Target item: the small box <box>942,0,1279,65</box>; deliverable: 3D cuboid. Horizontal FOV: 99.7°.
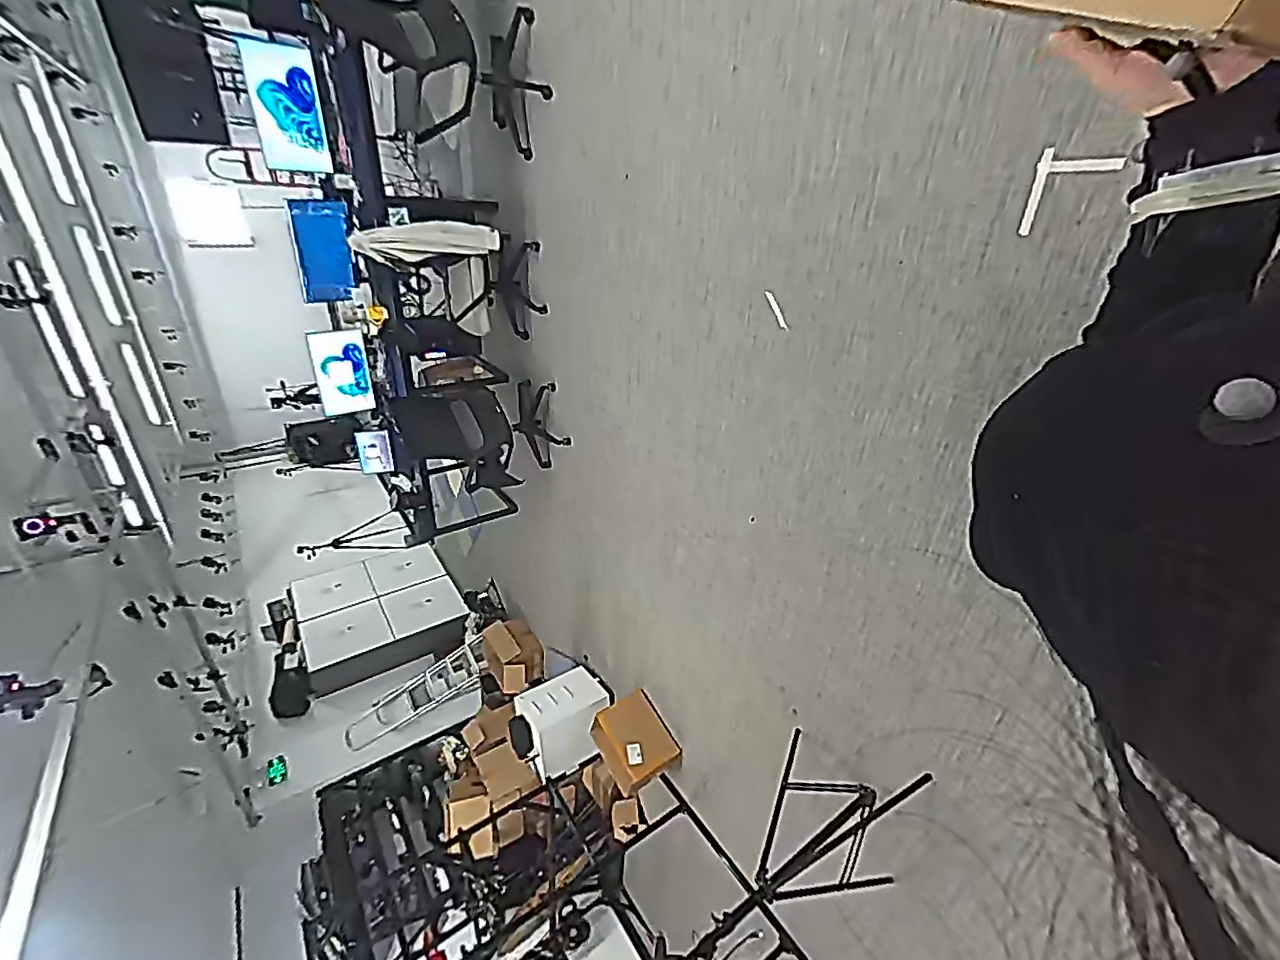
[{"bbox_3d":[0.282,-0.311,0.248,0.179,0.176,0.168,58,149,38],"label":"small box"}]
